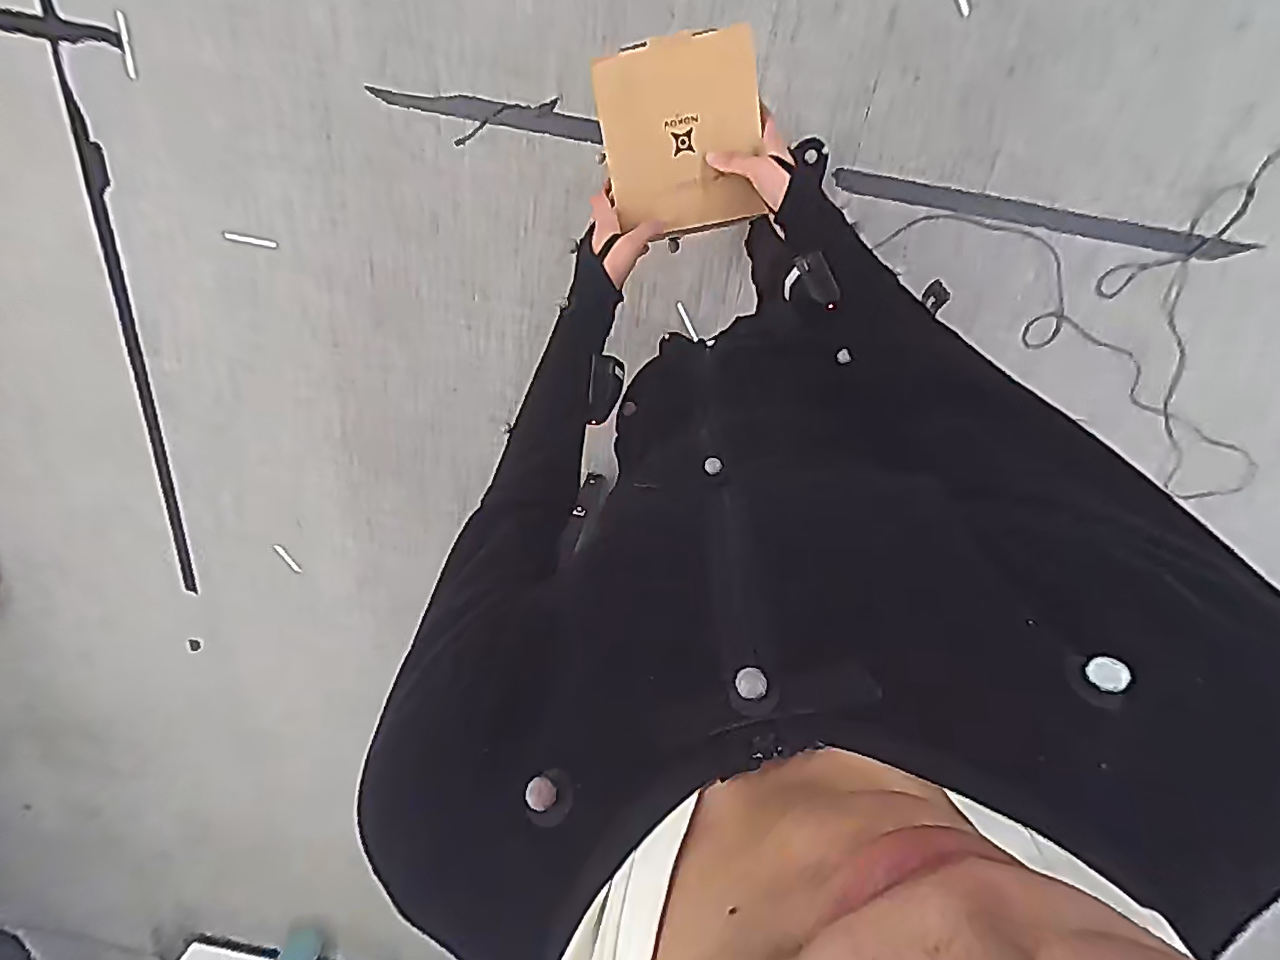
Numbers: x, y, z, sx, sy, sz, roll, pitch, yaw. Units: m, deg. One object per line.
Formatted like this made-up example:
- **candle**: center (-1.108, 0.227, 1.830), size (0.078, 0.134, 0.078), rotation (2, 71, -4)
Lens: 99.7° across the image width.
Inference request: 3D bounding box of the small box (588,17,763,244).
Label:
- **small box**: center (0.038, -0.386, 0.633), size (0.168, 0.176, 0.179), rotation (-10, 111, 3)

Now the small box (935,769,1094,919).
- **small box**: center (0.707, 0.697, 1.048), size (0.168, 0.176, 0.179), rotation (10, 116, 3)
